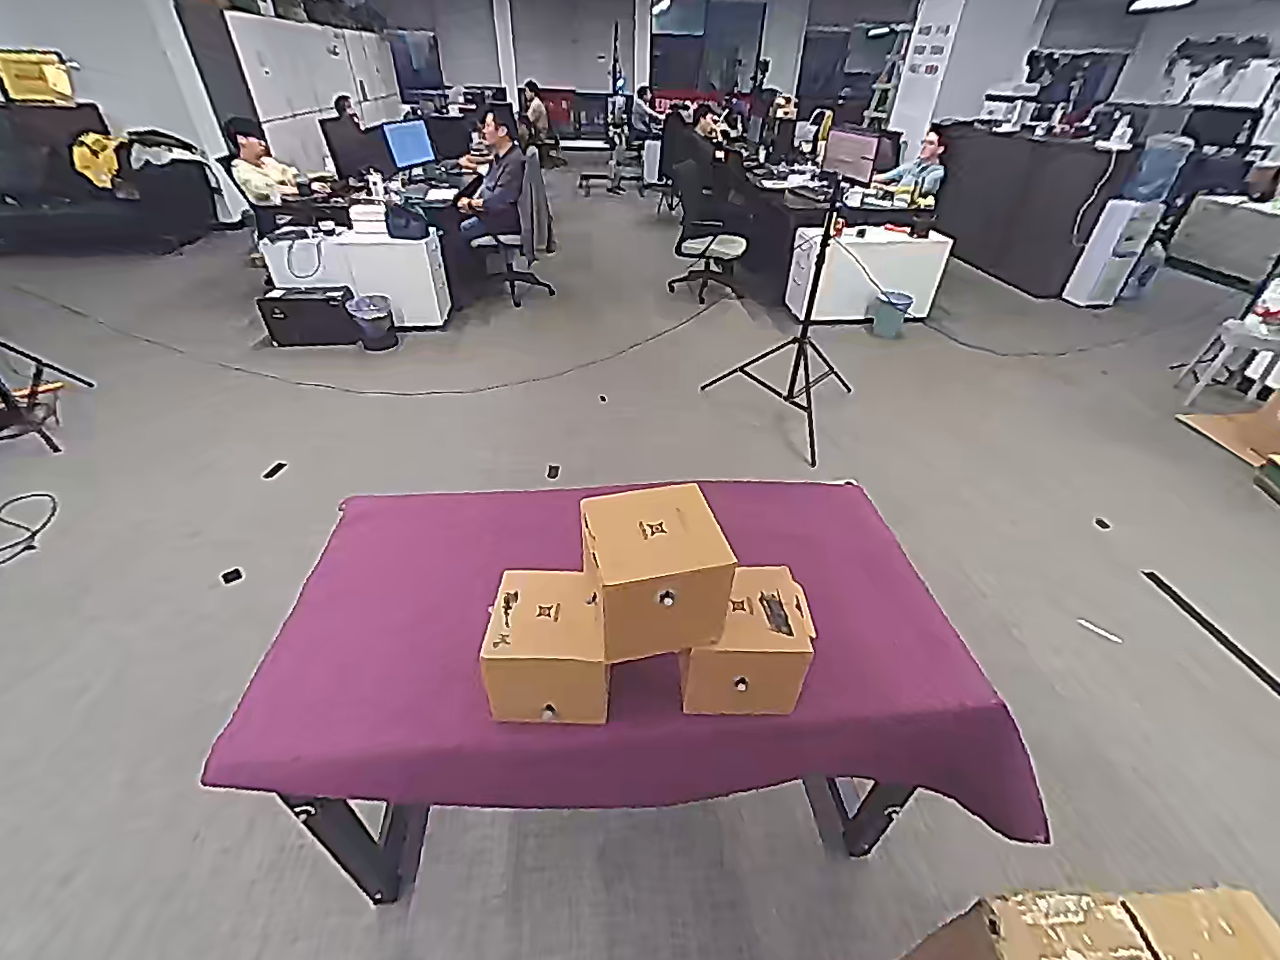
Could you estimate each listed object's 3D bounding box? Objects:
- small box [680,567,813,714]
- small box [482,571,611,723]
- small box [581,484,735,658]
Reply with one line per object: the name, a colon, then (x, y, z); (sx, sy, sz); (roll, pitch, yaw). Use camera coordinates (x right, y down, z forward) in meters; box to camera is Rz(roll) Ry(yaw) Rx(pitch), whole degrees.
small box: (0.158, 0.259, 0.874); (0.179, 0.176, 0.168); (0, 36, 0)
small box: (-0.133, 0.265, 0.858); (0.179, 0.176, 0.168); (2, 36, 0)
small box: (0.017, 0.130, 0.771); (0.179, 0.176, 0.168); (-8, 39, -12)
